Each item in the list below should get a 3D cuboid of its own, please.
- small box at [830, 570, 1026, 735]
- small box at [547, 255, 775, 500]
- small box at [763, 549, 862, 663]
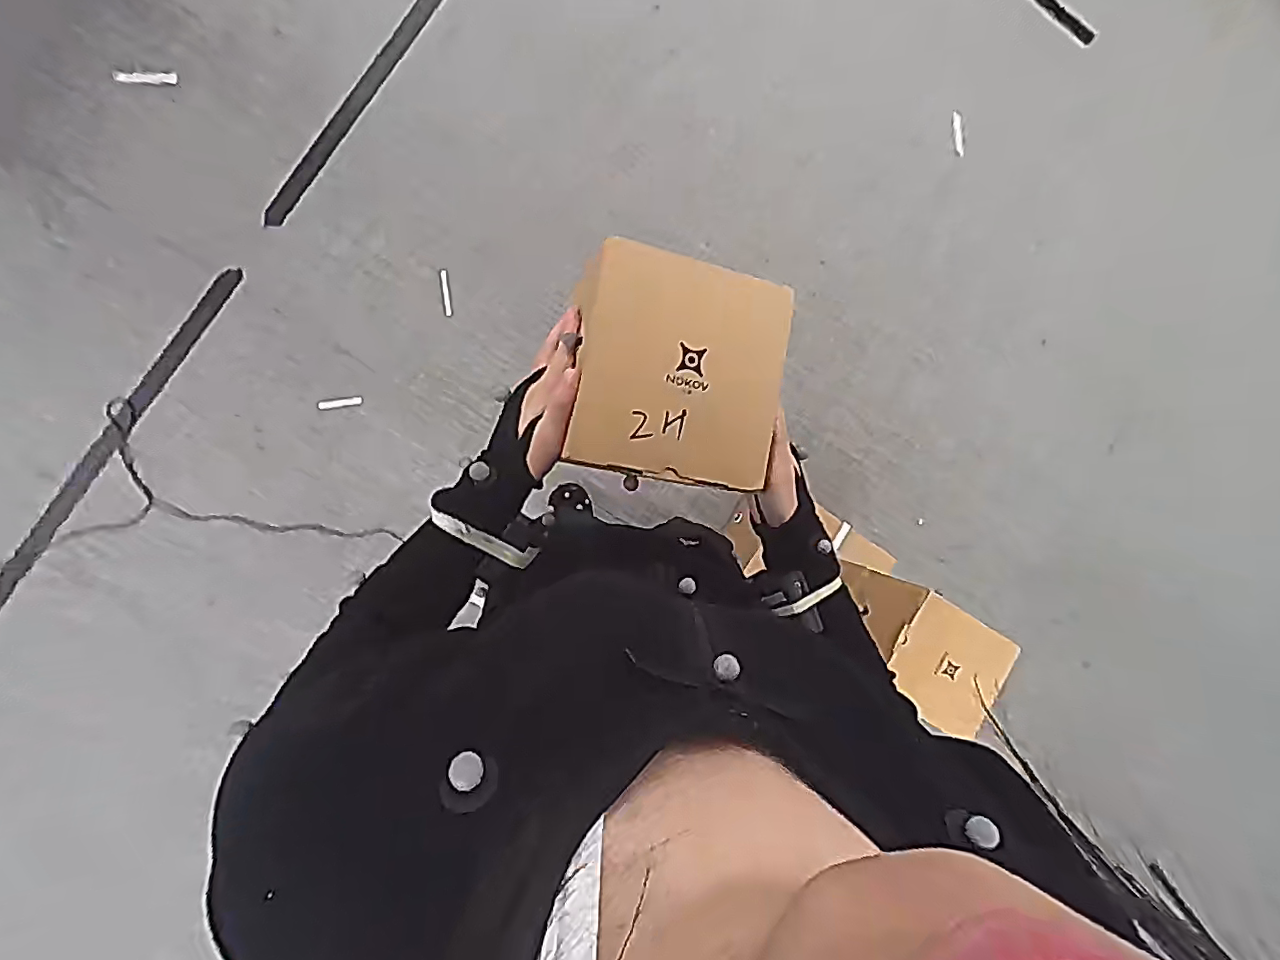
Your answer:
[{"bbox_3d":[0.434,0.253,0.843,0.179,0.176,0.168,28,86,-3],"label":"small box"},{"bbox_3d":[0.007,-0.078,0.511,0.168,0.176,0.179,7,88,-14],"label":"small box"},{"bbox_3d":[0.388,0.263,1.167,0.168,0.176,0.179,27,87,-4],"label":"small box"}]
